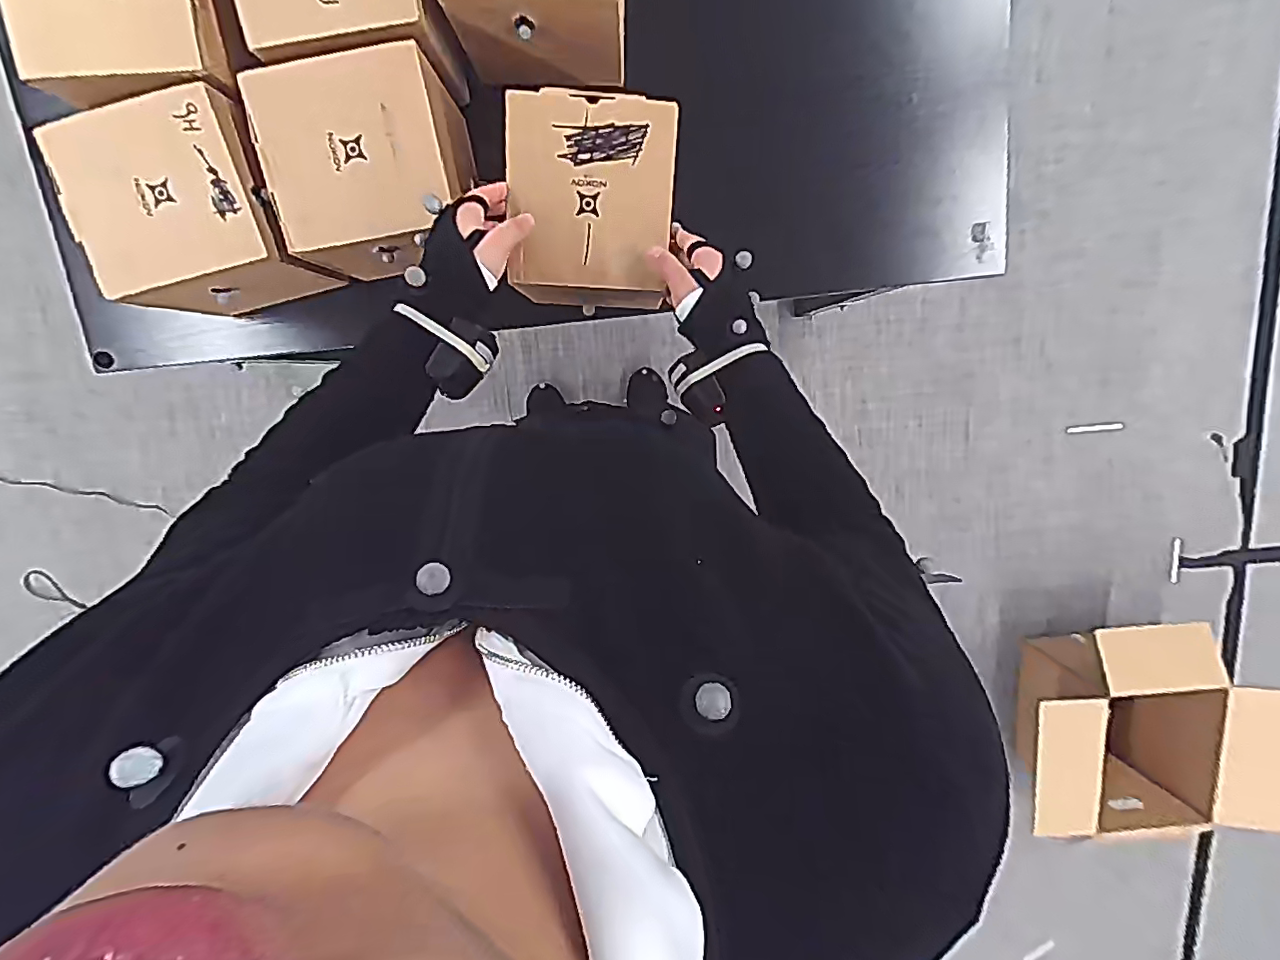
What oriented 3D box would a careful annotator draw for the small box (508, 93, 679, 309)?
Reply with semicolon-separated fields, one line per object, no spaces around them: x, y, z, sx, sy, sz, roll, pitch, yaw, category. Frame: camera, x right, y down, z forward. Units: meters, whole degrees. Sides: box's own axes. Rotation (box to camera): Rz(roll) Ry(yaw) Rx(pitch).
-0.052;-0.302;0.622;0.168;0.176;0.179;3;102;-2;small box
